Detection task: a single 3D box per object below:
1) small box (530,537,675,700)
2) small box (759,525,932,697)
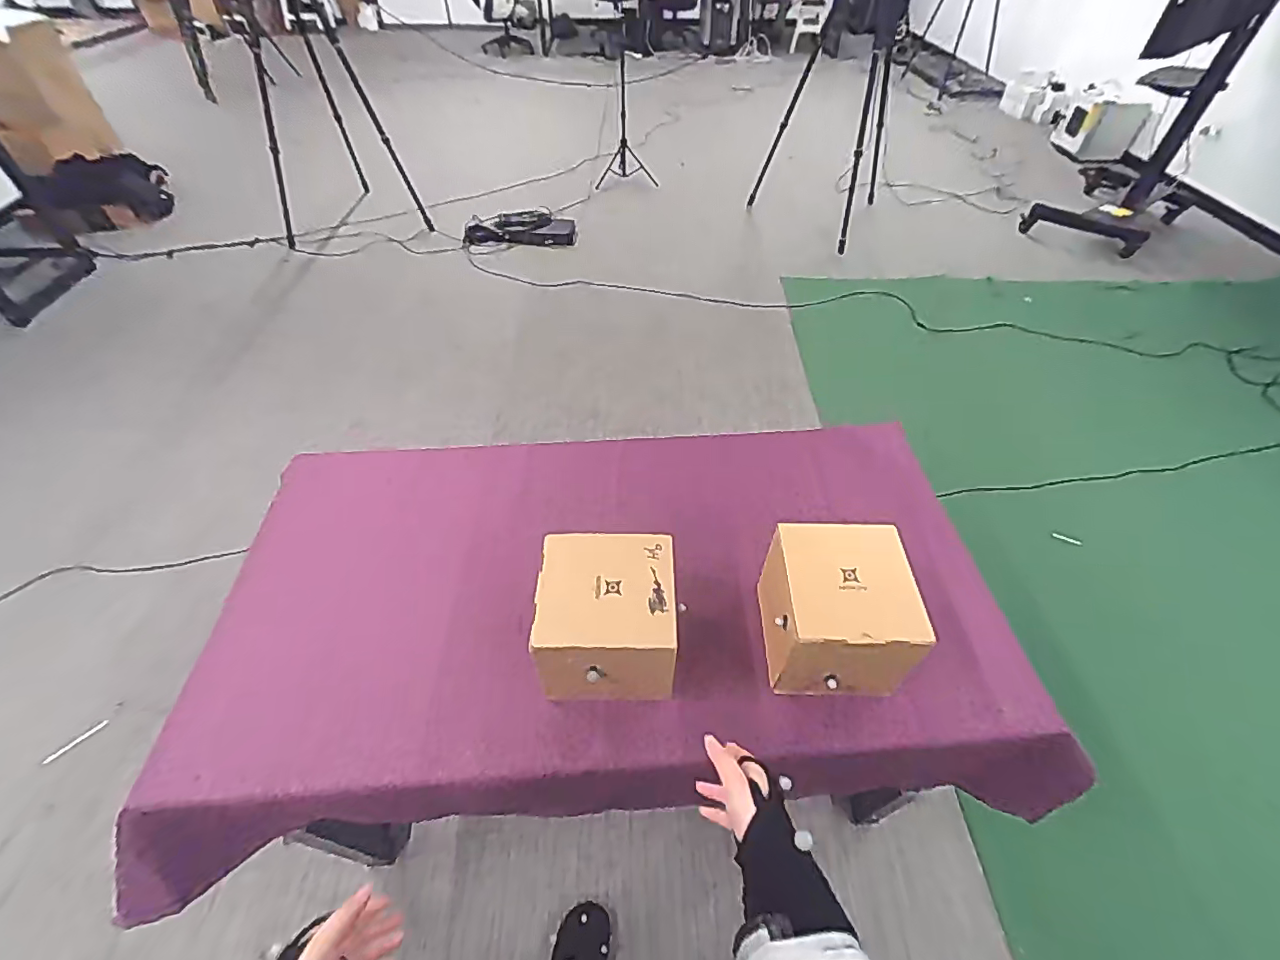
[{"bbox_3d":[-0.042,0.194,0.747,0.179,0.176,0.168,0,48,1],"label":"small box"},{"bbox_3d":[0.269,0.184,0.759,0.168,0.176,0.179,1,48,1],"label":"small box"}]
